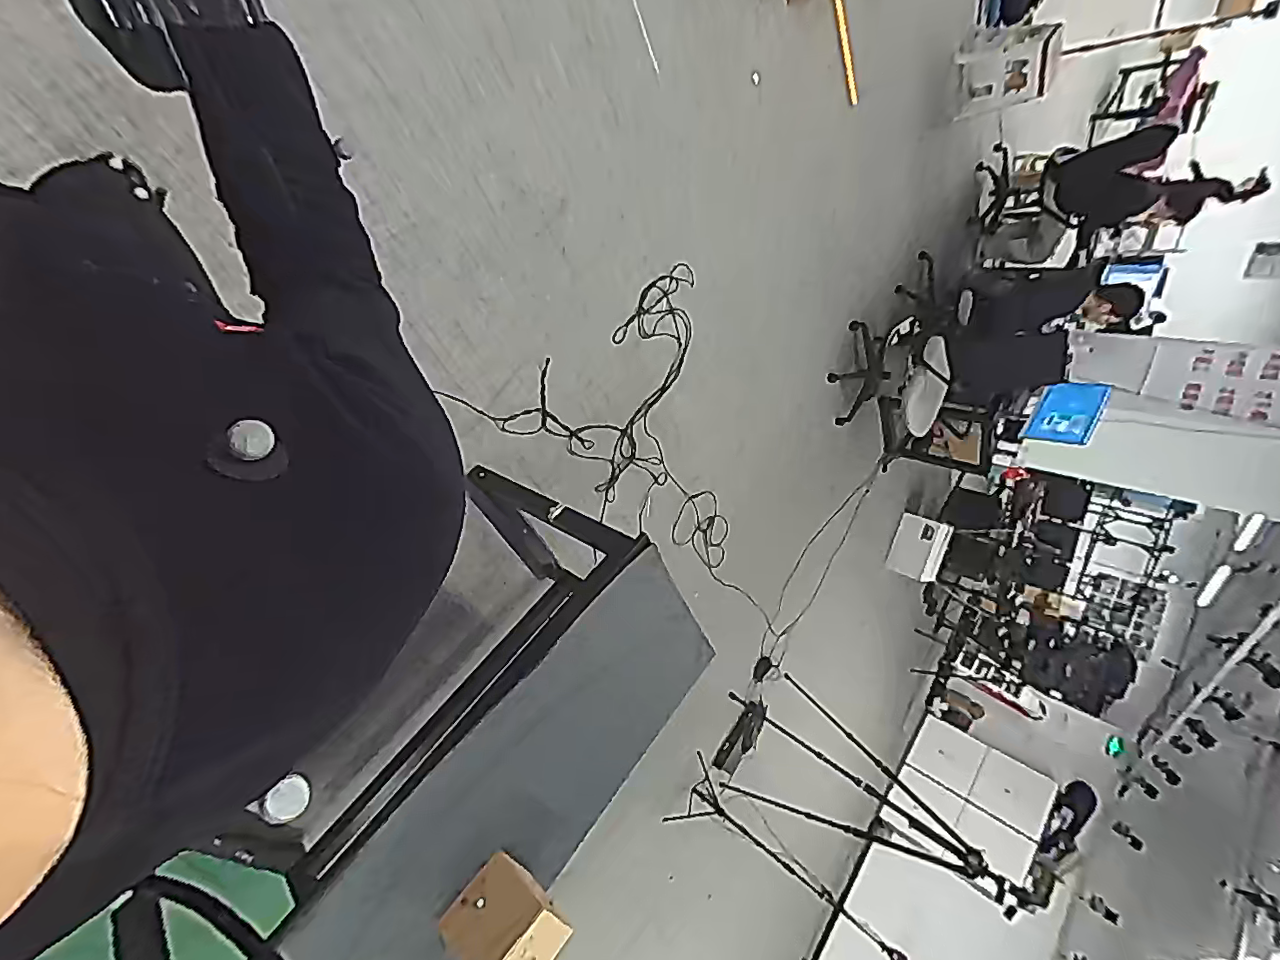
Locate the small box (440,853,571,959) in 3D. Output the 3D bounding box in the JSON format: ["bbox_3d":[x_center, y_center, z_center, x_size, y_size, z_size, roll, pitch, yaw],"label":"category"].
[{"bbox_3d":[-0.277,0.922,1.118,0.168,0.176,0.179,-42,132,-27],"label":"small box"}]
